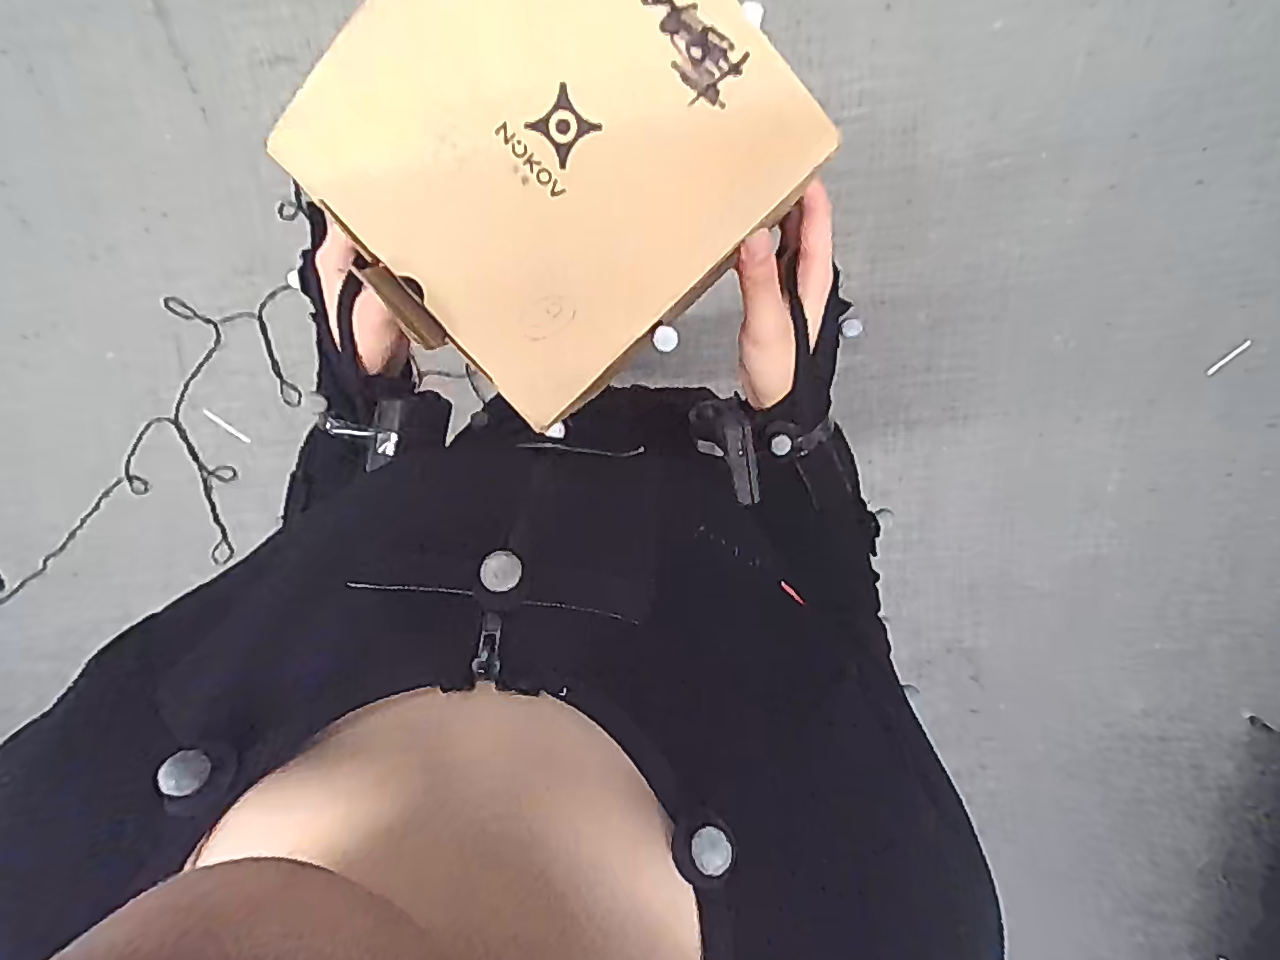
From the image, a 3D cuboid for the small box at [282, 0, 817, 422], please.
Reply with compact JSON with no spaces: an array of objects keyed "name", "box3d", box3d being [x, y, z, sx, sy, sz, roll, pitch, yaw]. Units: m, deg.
[{"name":"small box","box3d":[-0.036,-0.157,0.306,0.179,0.176,0.168,-42,98,11]}]
